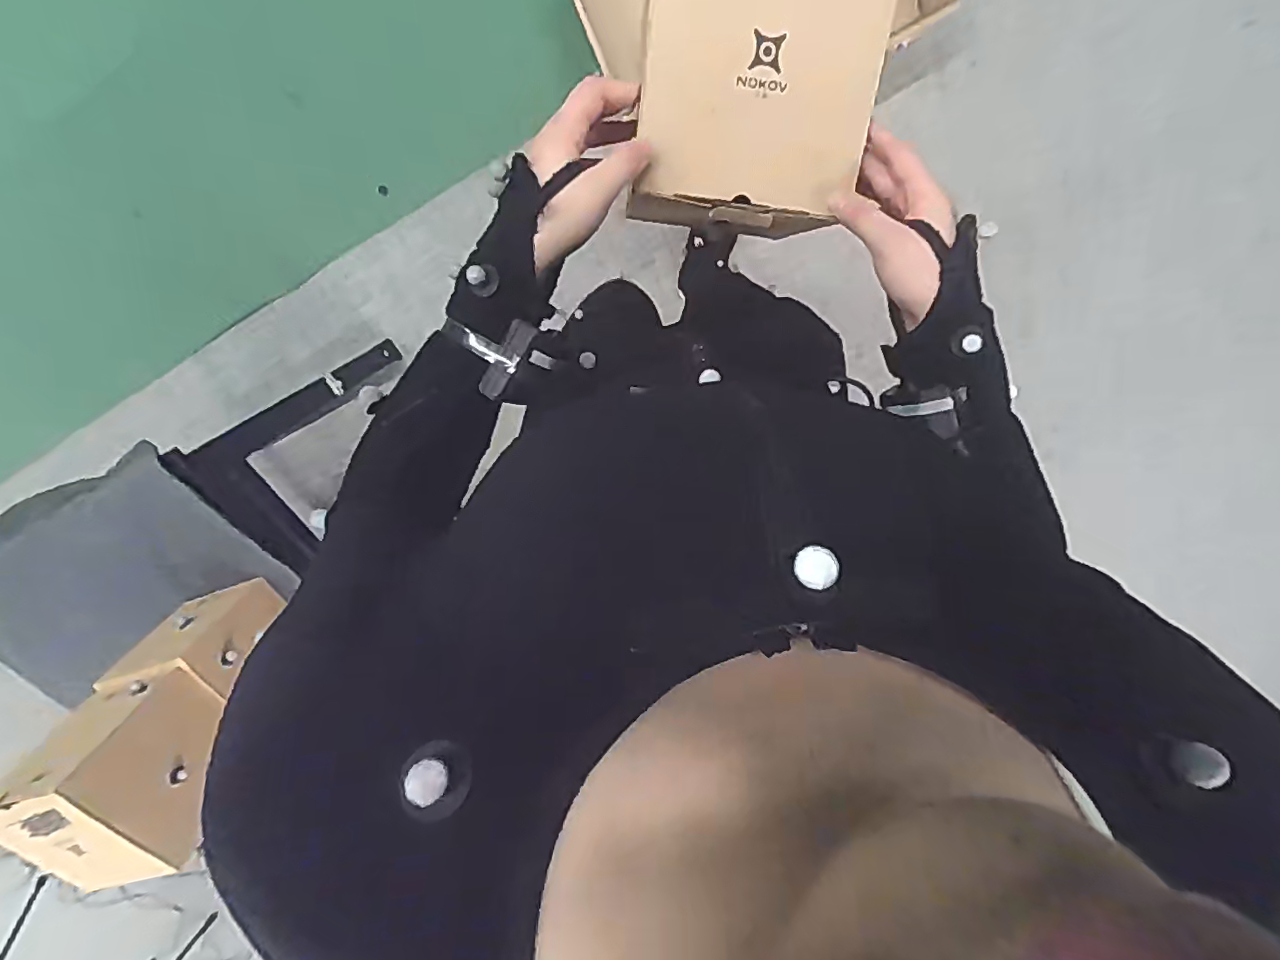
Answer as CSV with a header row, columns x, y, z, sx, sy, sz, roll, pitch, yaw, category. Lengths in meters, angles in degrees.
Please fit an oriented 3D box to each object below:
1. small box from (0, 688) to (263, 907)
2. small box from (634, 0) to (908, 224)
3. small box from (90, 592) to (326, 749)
x,y,z,sx,sy,sz,roll,pitch,yaw,category
-0.634,0.384,0.673,0.168,0.176,0.179,-20,118,13,small box
0.086,-0.313,0.436,0.168,0.176,0.179,4,111,-5,small box
-0.624,0.290,0.808,0.168,0.176,0.179,-18,117,12,small box
